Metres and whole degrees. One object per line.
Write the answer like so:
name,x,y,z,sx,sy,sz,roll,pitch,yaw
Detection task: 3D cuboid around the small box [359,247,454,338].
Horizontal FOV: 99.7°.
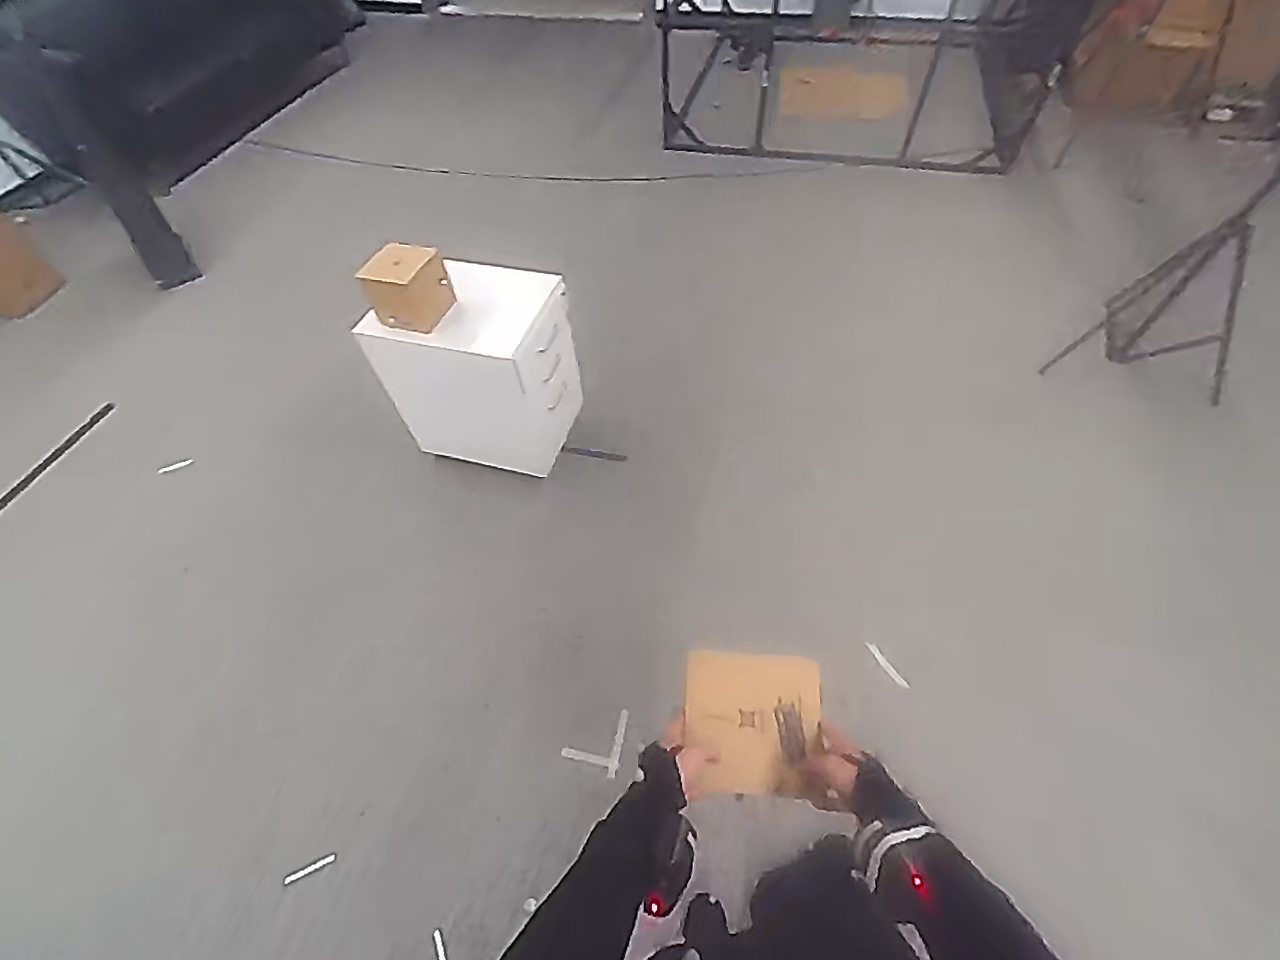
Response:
small box,-0.655,-0.536,1.549,0.168,0.176,0.179,13,55,12

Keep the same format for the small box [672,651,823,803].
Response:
small box,0.139,0.338,0.752,0.179,0.176,0.168,3,65,3
